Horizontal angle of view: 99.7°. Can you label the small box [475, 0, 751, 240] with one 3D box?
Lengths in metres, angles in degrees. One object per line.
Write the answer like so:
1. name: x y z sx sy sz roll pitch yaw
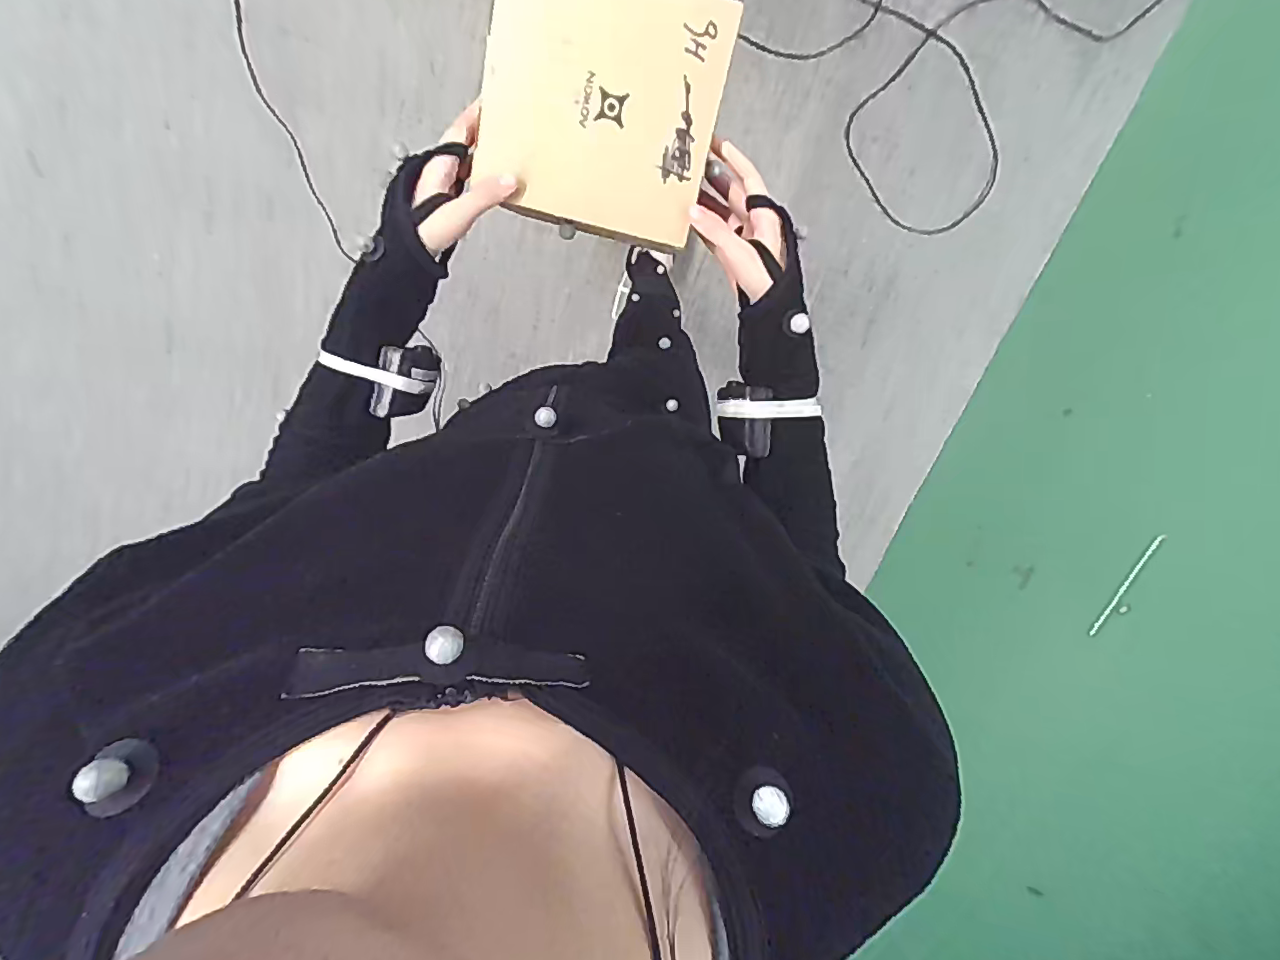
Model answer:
1. small box: -0.023 -0.318 0.470 0.179 0.176 0.168 13 109 -5
